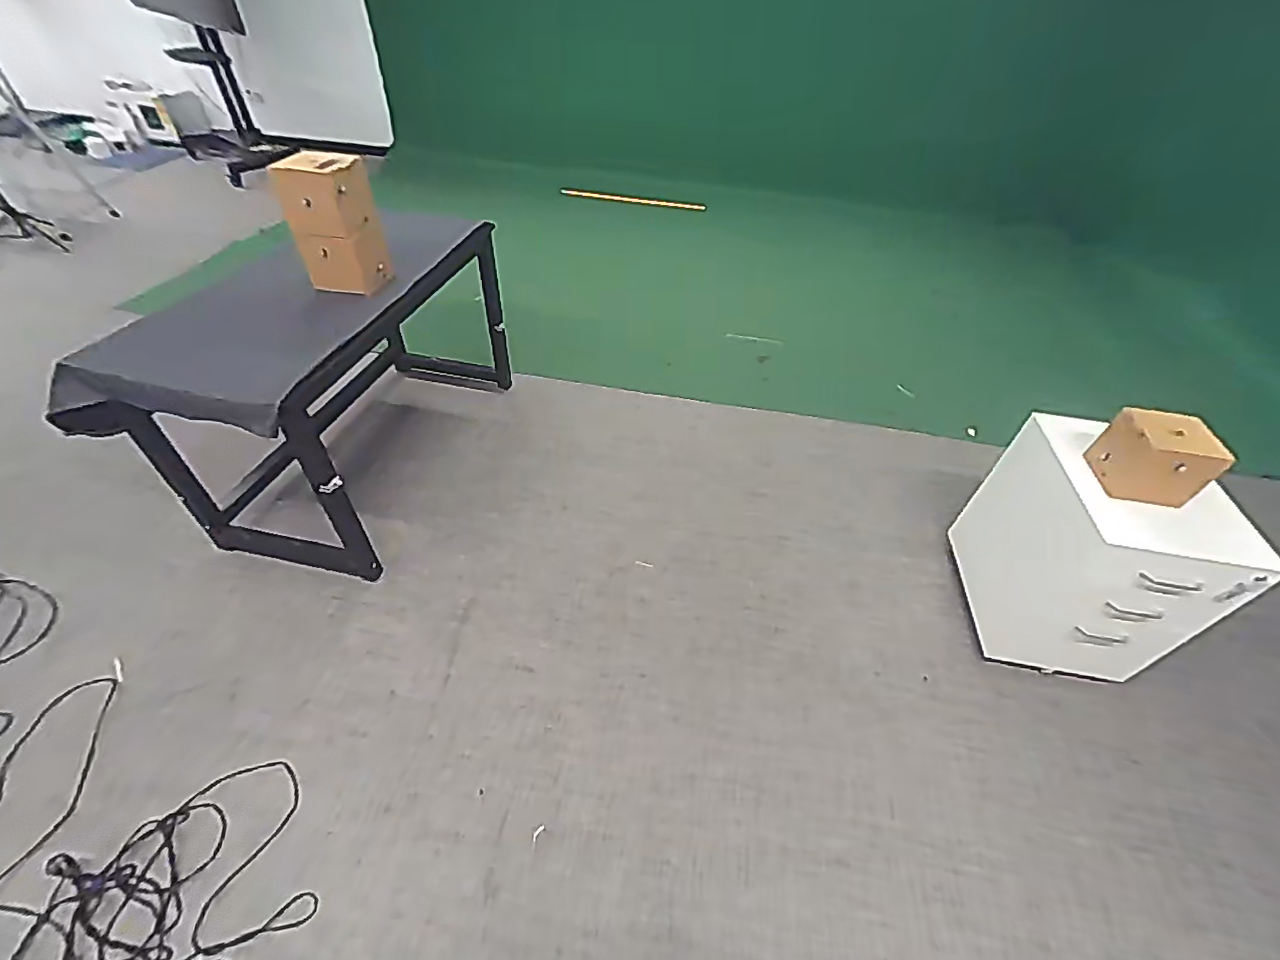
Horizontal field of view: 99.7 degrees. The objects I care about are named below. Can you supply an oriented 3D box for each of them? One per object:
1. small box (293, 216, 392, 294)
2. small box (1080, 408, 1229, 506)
[{"bbox_3d":[-0.881,-0.672,1.618,0.179,0.176,0.168,7,44,4],"label":"small box"},{"bbox_3d":[1.267,-0.054,1.349,0.179,0.176,0.168,9,44,4],"label":"small box"}]
